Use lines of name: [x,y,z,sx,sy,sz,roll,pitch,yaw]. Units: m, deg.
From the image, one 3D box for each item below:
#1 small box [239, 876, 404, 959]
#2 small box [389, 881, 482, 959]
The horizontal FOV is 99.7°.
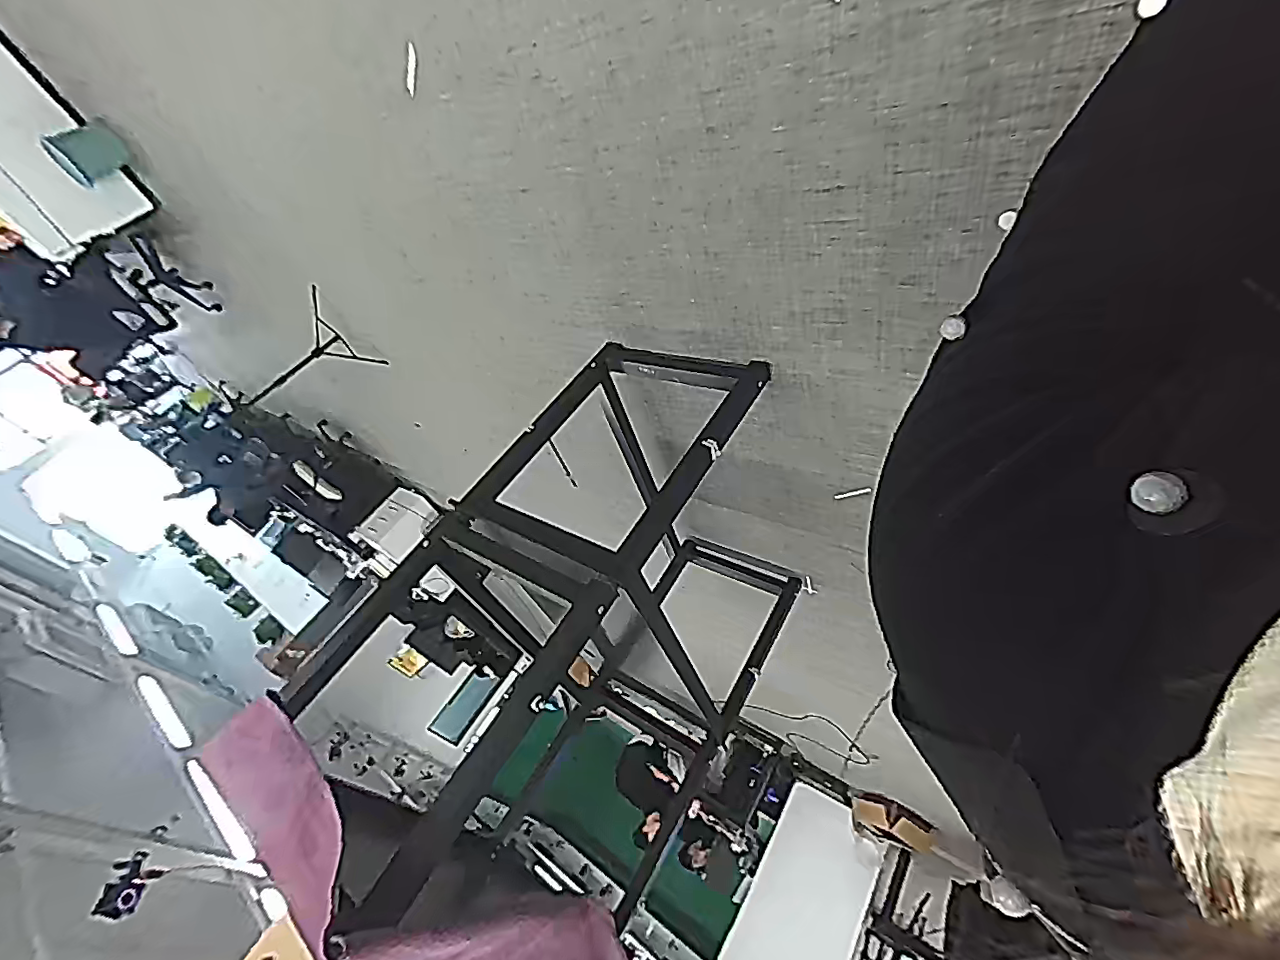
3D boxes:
small box: [-0.581,0.870,1.002,0.179,0.176,0.168,20,151,31]
small box: [-0.495,1.077,1.247,0.179,0.176,0.168,15,147,39]
